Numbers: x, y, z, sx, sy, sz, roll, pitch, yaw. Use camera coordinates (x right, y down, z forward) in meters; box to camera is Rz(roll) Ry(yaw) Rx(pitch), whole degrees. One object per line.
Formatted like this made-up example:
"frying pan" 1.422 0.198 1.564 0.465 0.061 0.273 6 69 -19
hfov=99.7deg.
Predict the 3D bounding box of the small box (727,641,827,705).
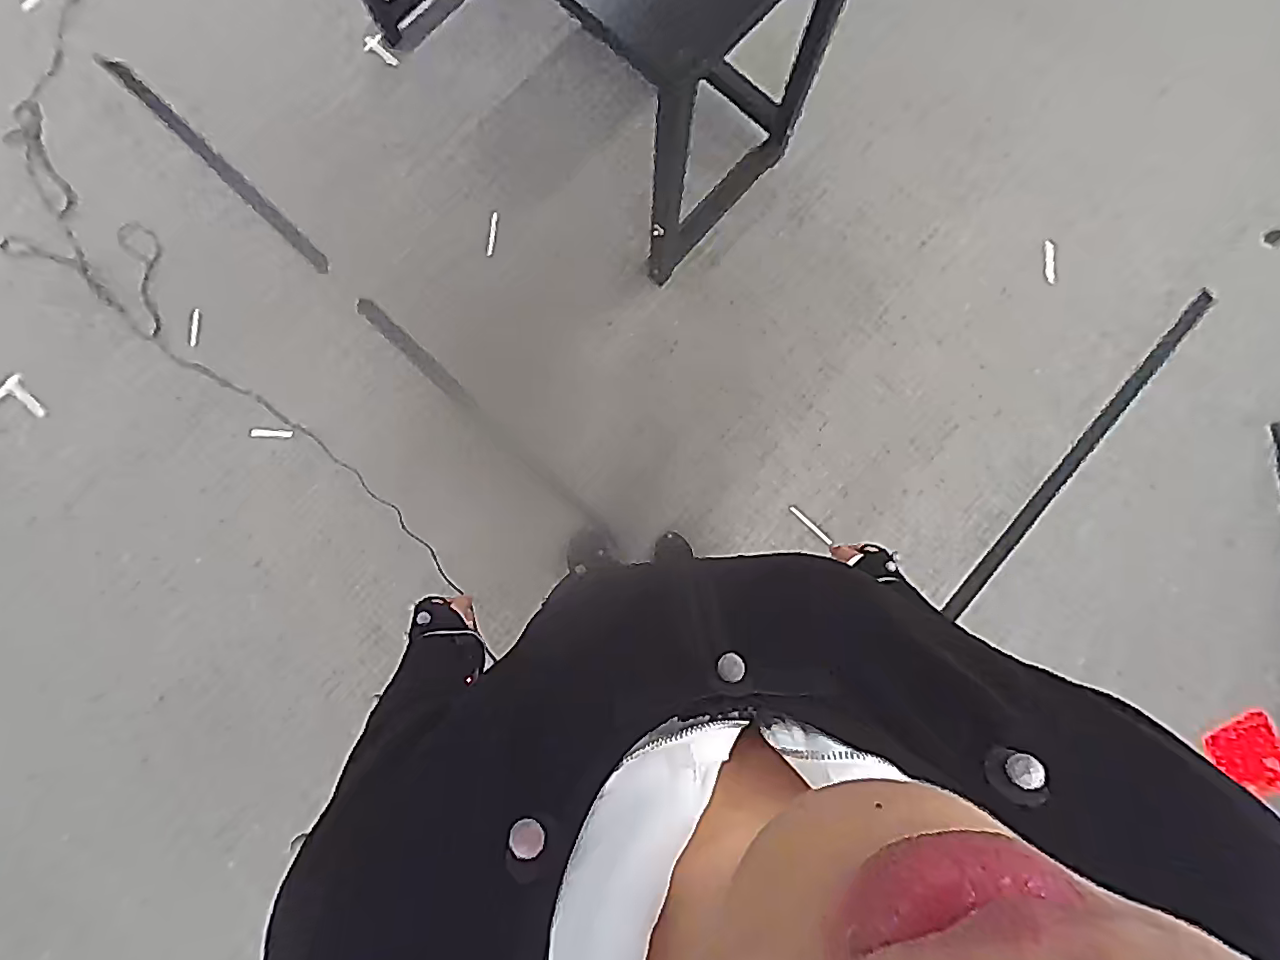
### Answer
"small box" 0.339 0.542 1.387 0.168 0.176 0.179 42 84 4

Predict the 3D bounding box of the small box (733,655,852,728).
"small box" 0.335 0.525 1.224 0.179 0.176 0.168 41 86 3

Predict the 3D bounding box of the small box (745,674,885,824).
"small box" 0.331 0.511 1.060 0.179 0.176 0.168 41 86 5
